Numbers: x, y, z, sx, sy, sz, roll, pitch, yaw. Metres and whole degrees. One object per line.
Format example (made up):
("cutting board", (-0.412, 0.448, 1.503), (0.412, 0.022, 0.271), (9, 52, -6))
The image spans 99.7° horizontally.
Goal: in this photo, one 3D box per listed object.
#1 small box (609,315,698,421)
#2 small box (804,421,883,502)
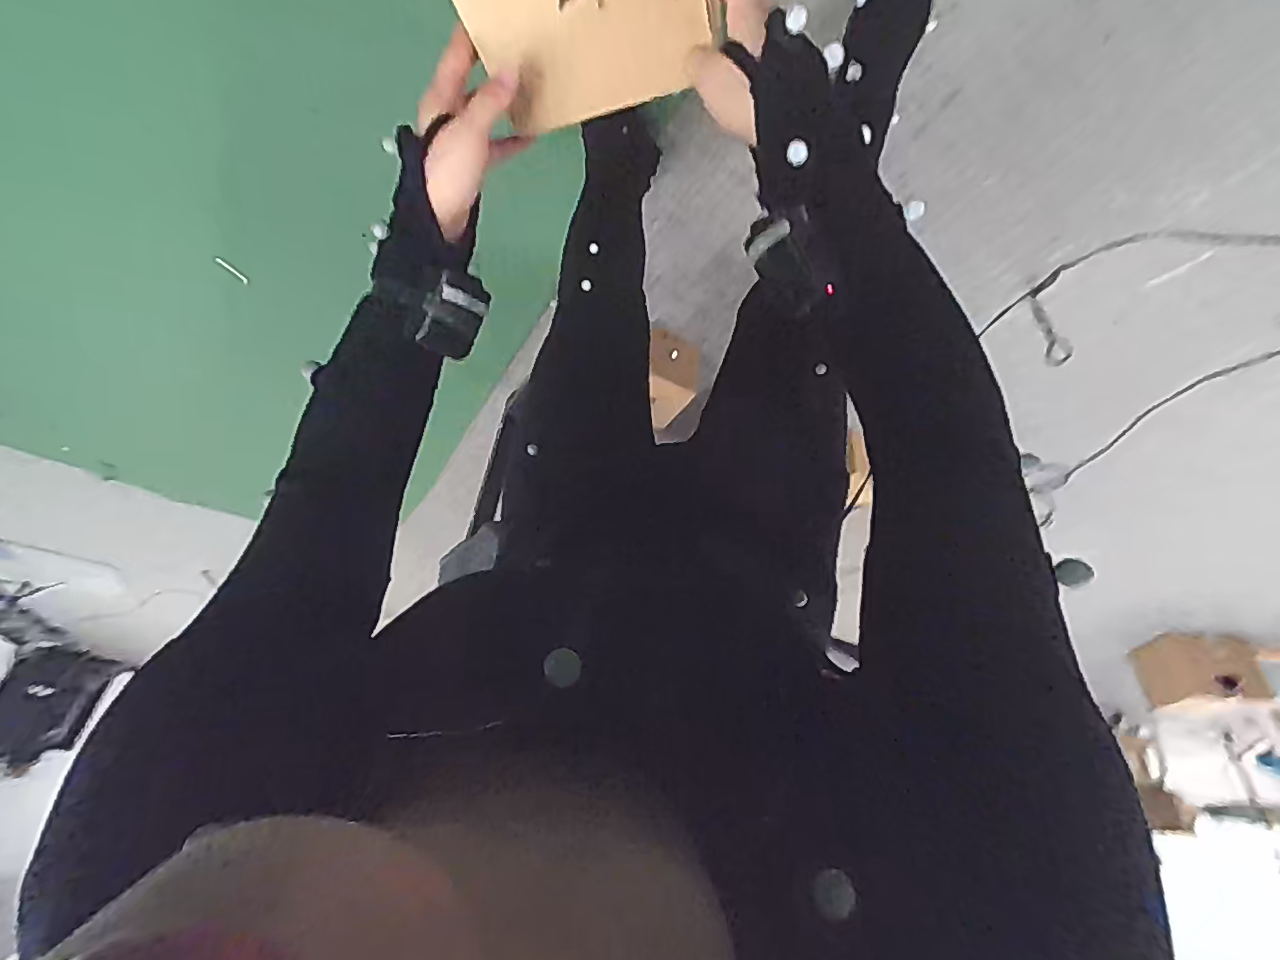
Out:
("small box", (0.035, -0.287, 1.386), (0.168, 0.176, 0.179), (20, 147, -21))
("small box", (0.627, -0.057, 1.671), (0.168, 0.176, 0.179), (-23, 139, 39))
